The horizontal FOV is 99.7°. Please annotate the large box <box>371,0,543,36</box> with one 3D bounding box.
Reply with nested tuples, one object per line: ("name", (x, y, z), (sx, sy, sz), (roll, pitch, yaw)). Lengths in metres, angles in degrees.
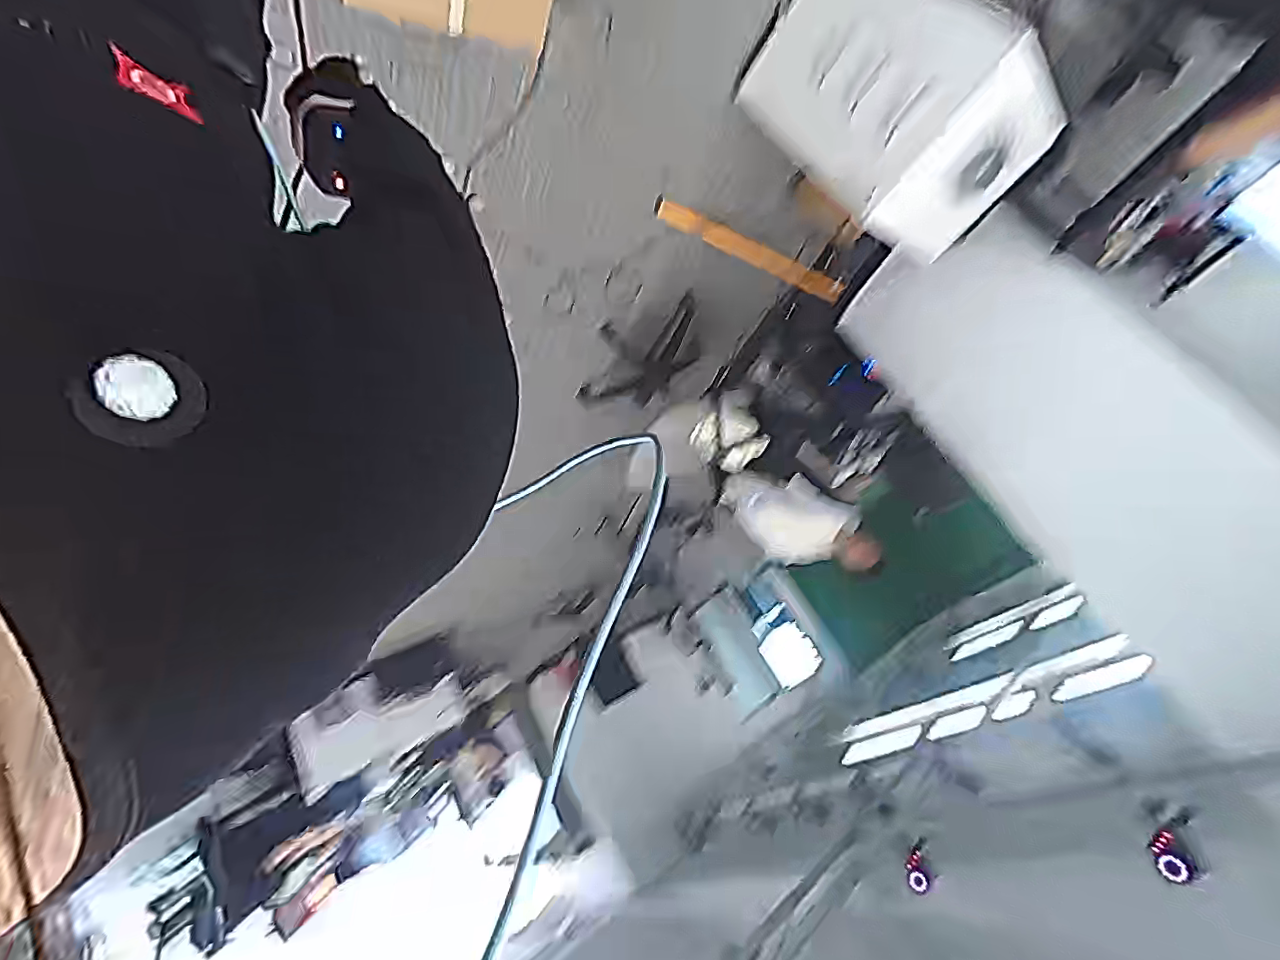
("large box", (-0.300, -0.934, 0.729), (0.320, 0.320, 0.408), (-18, 156, -35))
